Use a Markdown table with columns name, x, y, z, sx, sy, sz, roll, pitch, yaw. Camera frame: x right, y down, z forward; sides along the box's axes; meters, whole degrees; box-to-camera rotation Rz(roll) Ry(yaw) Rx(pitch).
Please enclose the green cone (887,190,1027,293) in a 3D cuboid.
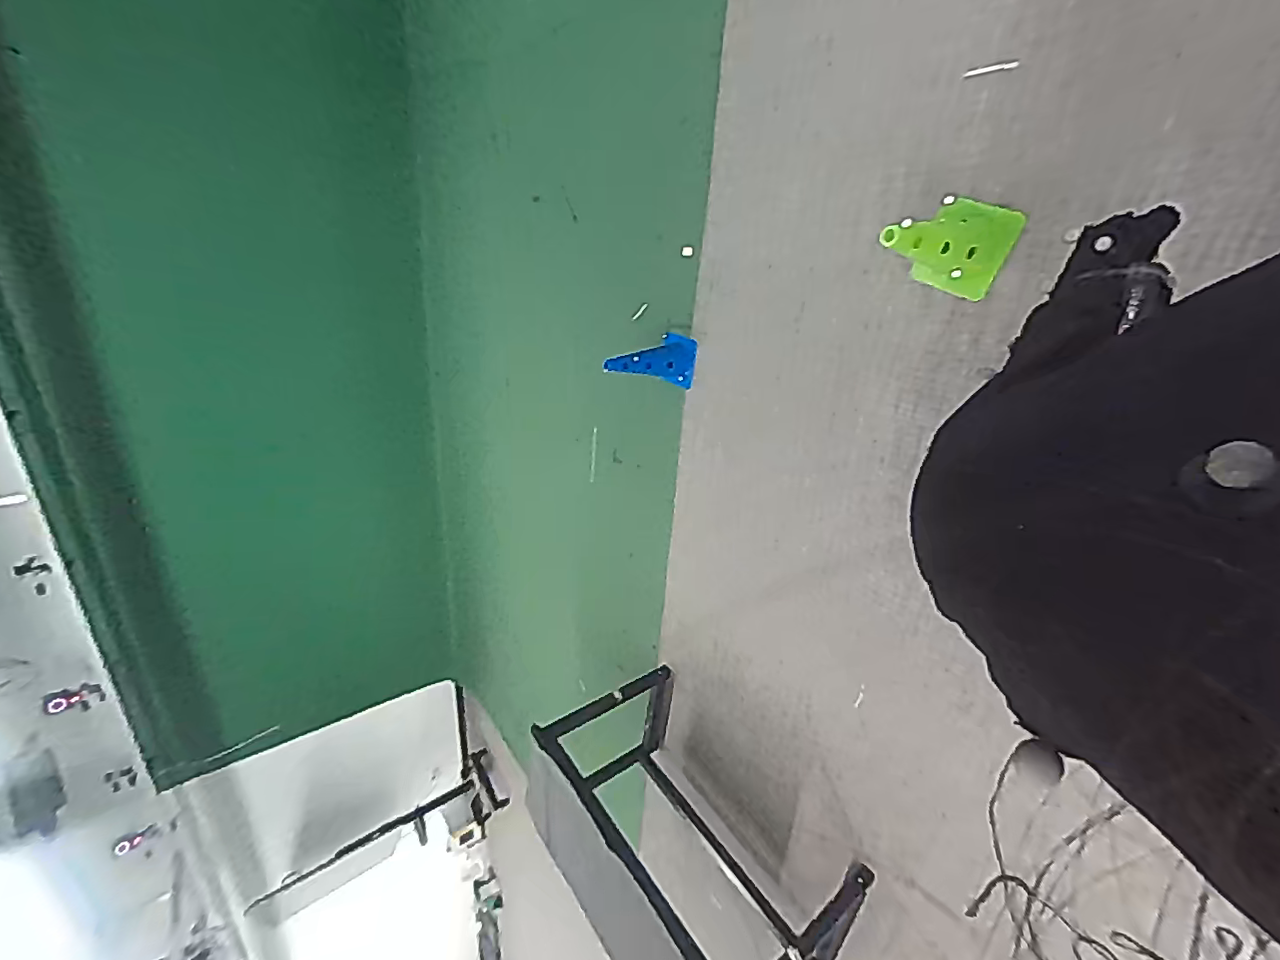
| name | x | y | z | sx | sy | sz | roll | pitch | yaw |
| --- | --- | --- | --- | --- | --- | --- | --- | --- | --- |
| green cone | 0.661 | -0.549 | 1.215 | 0.202 | 0.368 | 0.200 | 43 | 132 | 38 |
